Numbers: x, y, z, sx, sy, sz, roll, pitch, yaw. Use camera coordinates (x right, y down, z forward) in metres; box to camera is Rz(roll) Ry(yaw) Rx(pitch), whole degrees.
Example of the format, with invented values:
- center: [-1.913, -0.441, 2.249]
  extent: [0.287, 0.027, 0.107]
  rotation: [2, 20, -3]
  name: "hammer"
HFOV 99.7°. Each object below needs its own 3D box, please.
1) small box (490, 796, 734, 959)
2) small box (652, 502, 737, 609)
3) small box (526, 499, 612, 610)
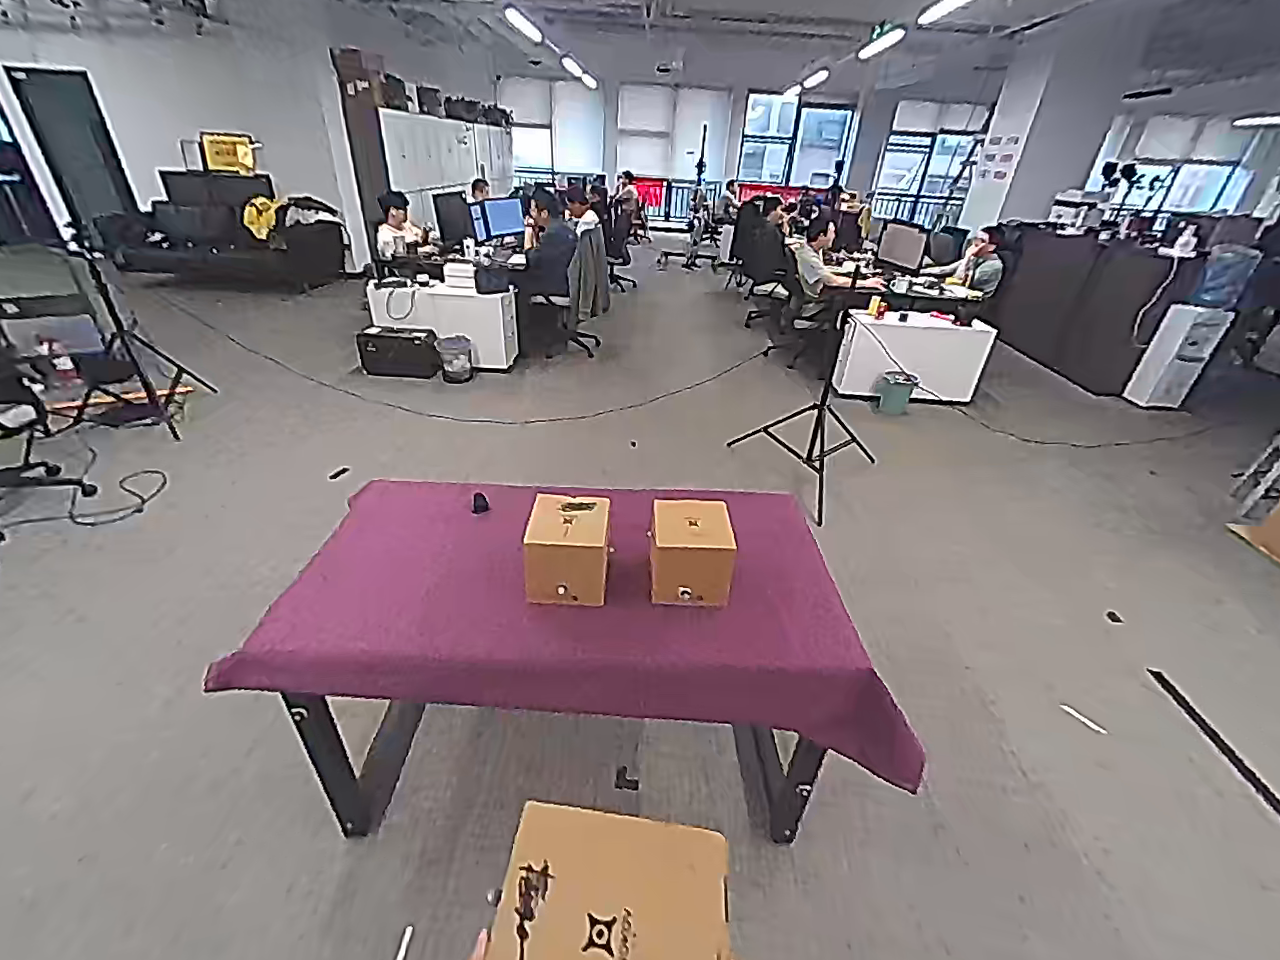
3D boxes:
- center: [-0.027, 0.396, 0.443]
  extent: [0.179, 0.176, 0.168]
  rotation: [10, 36, 1]
  name: "small box"
- center: [0.114, 0.167, 1.211]
  extent: [0.168, 0.176, 0.179]
  rotation: [1, 31, -2]
  name: "small box"
- center: [-0.152, 0.161, 1.194]
  extent: [0.168, 0.176, 0.179]
  rotation: [2, 31, -1]
  name: "small box"
